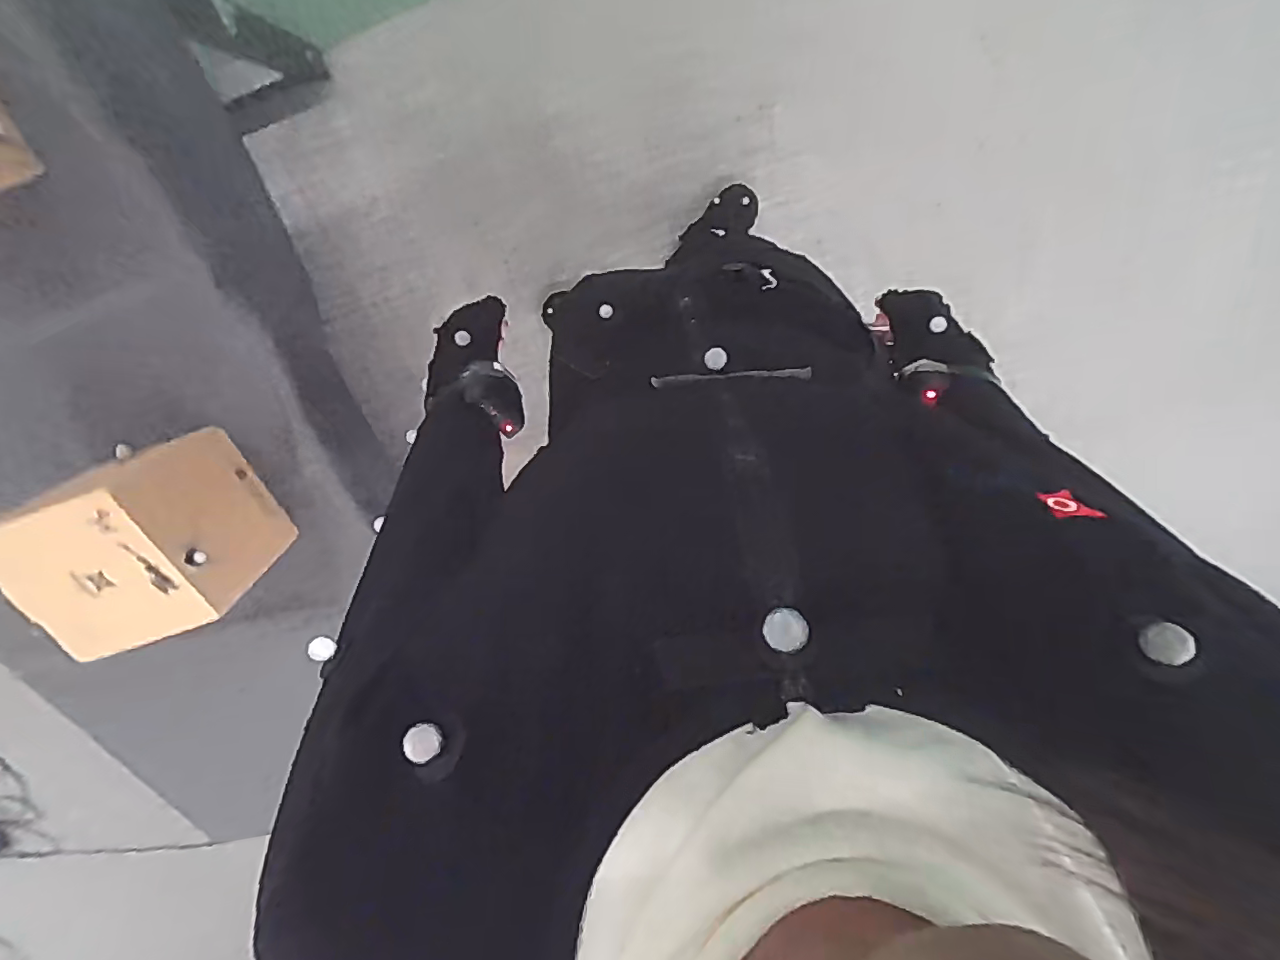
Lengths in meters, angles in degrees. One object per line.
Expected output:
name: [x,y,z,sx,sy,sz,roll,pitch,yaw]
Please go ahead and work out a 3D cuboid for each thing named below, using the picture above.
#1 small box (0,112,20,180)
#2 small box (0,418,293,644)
small box: [-0.669,-0.310,0.418,0.179,0.176,0.168,-16,118,7]
small box: [-0.552,0.051,0.614,0.179,0.176,0.168,-17,117,7]
